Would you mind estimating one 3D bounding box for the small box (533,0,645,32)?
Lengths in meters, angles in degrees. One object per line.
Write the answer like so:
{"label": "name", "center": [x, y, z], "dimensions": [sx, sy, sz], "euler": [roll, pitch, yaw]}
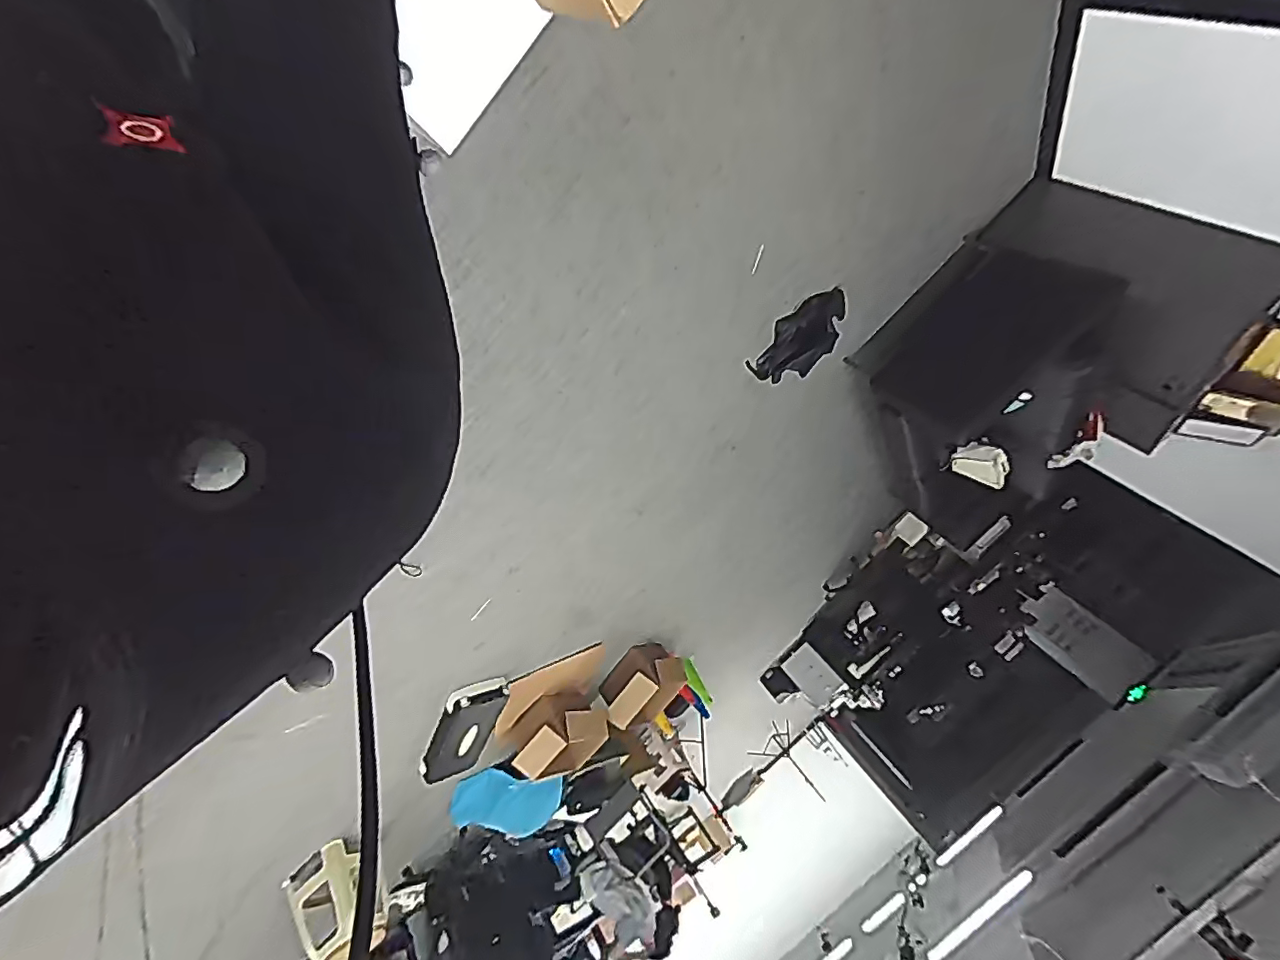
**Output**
{"label": "small box", "center": [-0.052, -0.563, 0.488], "dimensions": [0.179, 0.176, 0.168], "euler": [-49, 146, 7]}
